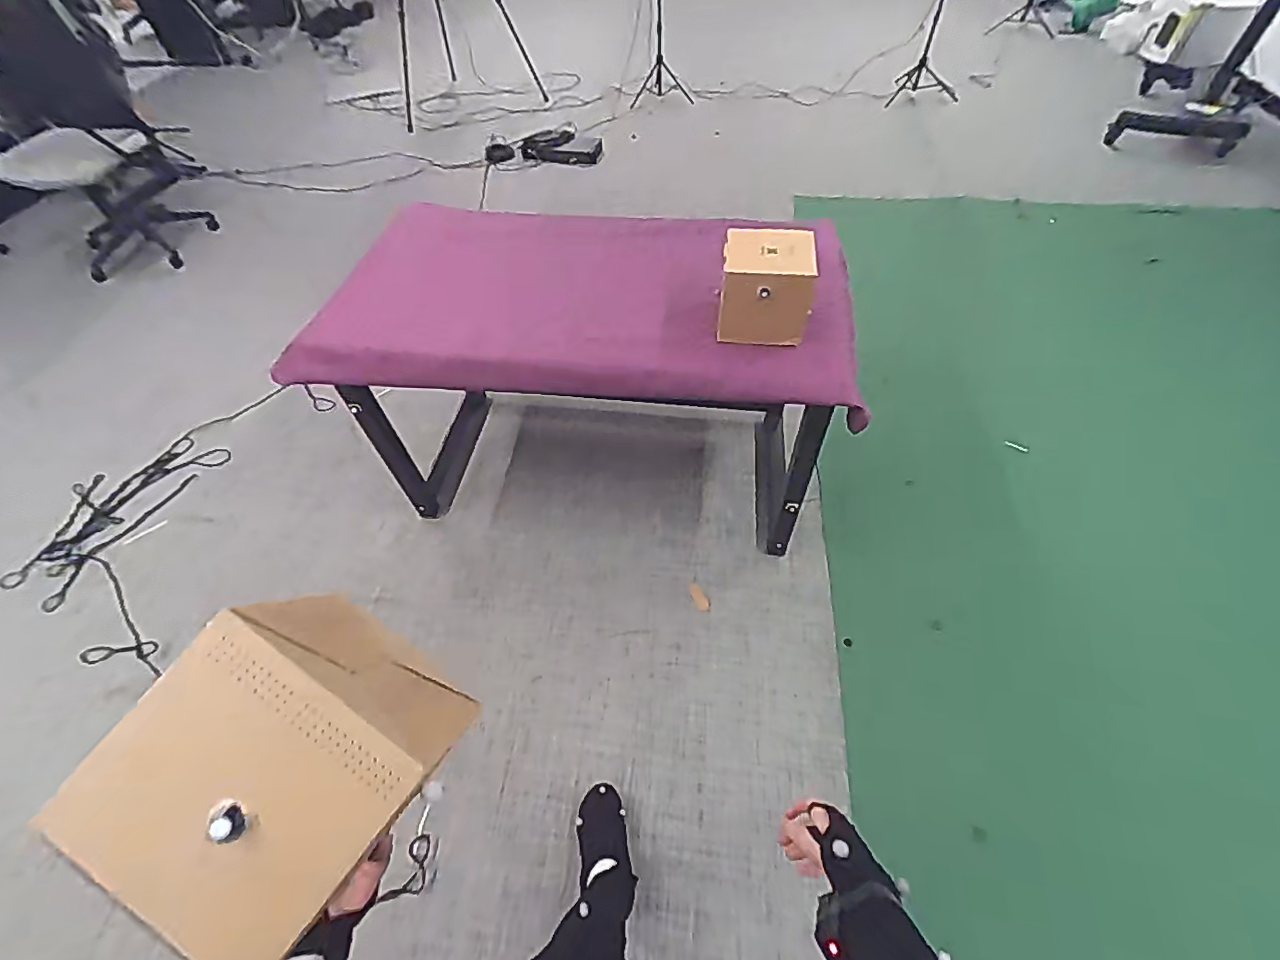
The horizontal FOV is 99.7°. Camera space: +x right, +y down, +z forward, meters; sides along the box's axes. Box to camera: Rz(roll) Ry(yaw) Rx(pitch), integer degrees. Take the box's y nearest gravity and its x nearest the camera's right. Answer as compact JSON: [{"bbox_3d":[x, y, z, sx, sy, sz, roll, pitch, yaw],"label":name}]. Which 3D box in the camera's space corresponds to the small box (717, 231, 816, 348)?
[{"bbox_3d":[0.256,-0.392,1.122,0.179,0.176,0.168,6,52,7],"label":"small box"}]

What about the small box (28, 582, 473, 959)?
[{"bbox_3d":[-0.262,0.194,0.415,0.179,0.168,0.176,38,81,2],"label":"small box"}]
